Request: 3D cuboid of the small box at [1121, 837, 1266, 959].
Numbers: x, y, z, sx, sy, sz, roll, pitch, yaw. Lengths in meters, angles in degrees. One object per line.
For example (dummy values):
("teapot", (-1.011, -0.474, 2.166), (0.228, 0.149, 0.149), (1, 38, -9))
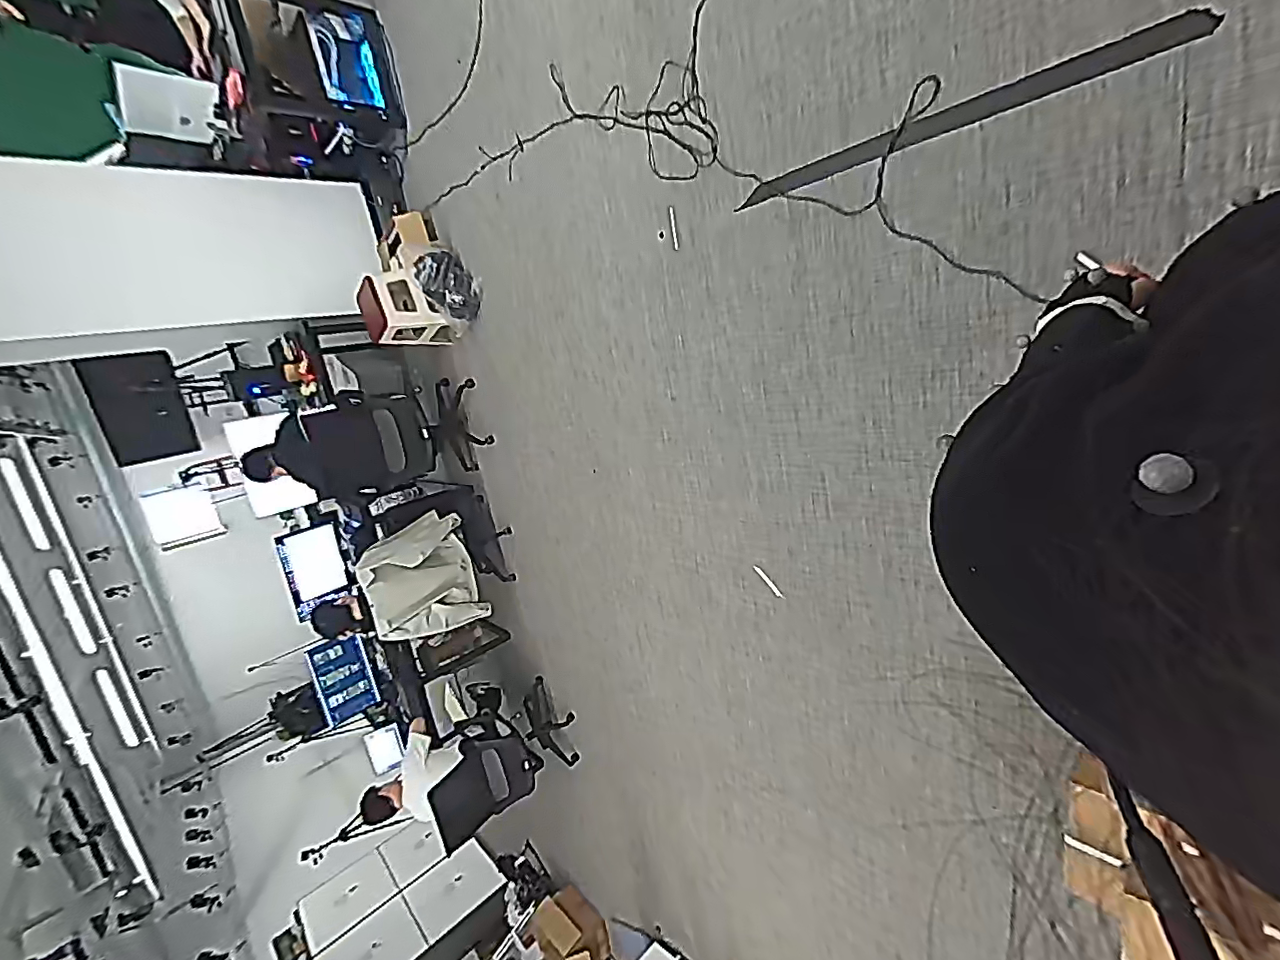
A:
("small box", (1.017, 0.813, 0.997), (0.179, 0.176, 0.168), (4, 107, 49))
